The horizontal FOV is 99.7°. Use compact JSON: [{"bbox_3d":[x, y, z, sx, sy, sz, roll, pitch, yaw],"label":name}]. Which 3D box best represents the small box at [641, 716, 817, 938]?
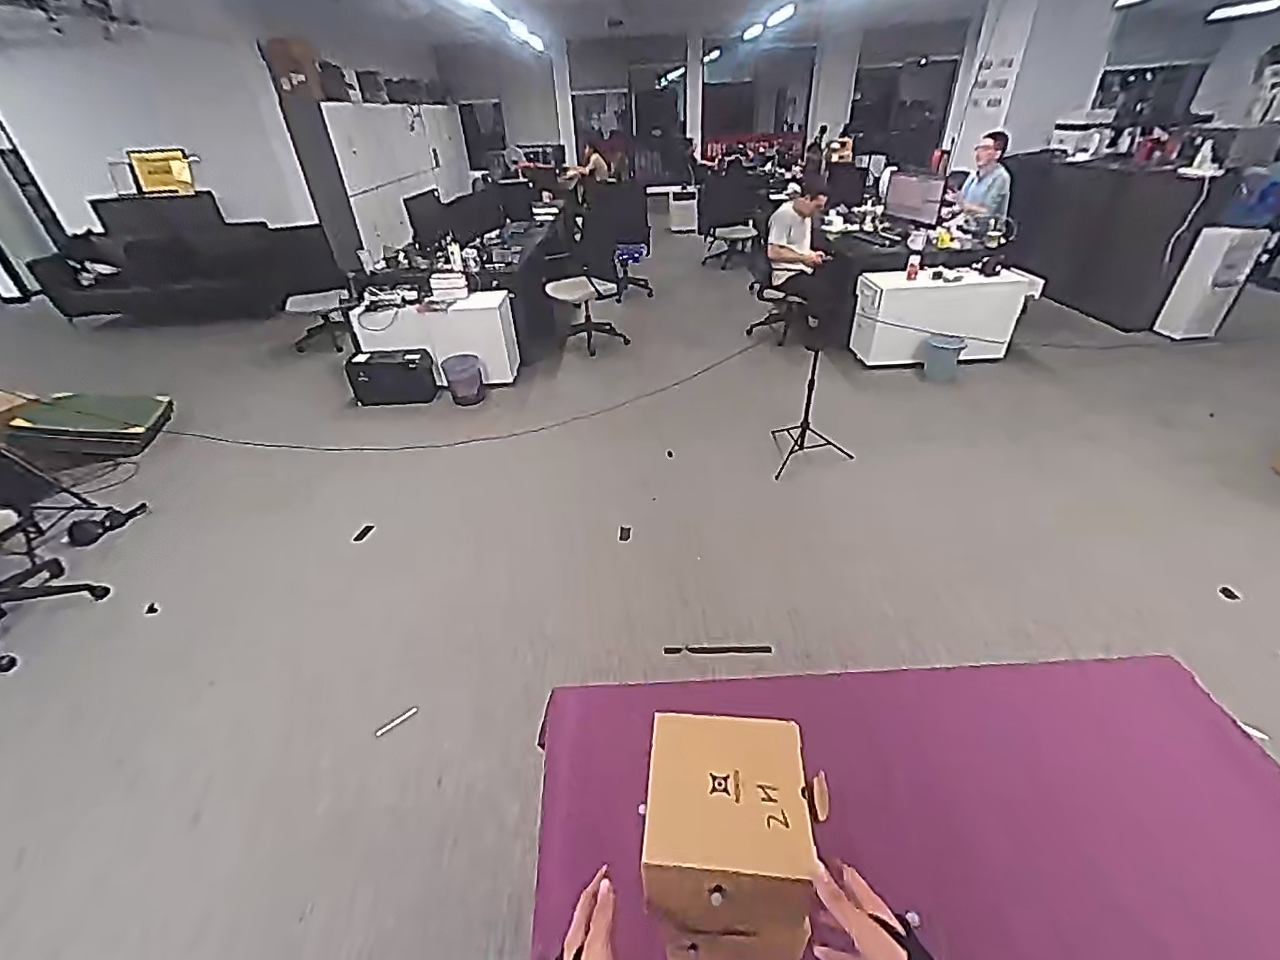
[{"bbox_3d":[0.100,0.407,0.640,0.179,0.176,0.168,2,35,6],"label":"small box"}]
